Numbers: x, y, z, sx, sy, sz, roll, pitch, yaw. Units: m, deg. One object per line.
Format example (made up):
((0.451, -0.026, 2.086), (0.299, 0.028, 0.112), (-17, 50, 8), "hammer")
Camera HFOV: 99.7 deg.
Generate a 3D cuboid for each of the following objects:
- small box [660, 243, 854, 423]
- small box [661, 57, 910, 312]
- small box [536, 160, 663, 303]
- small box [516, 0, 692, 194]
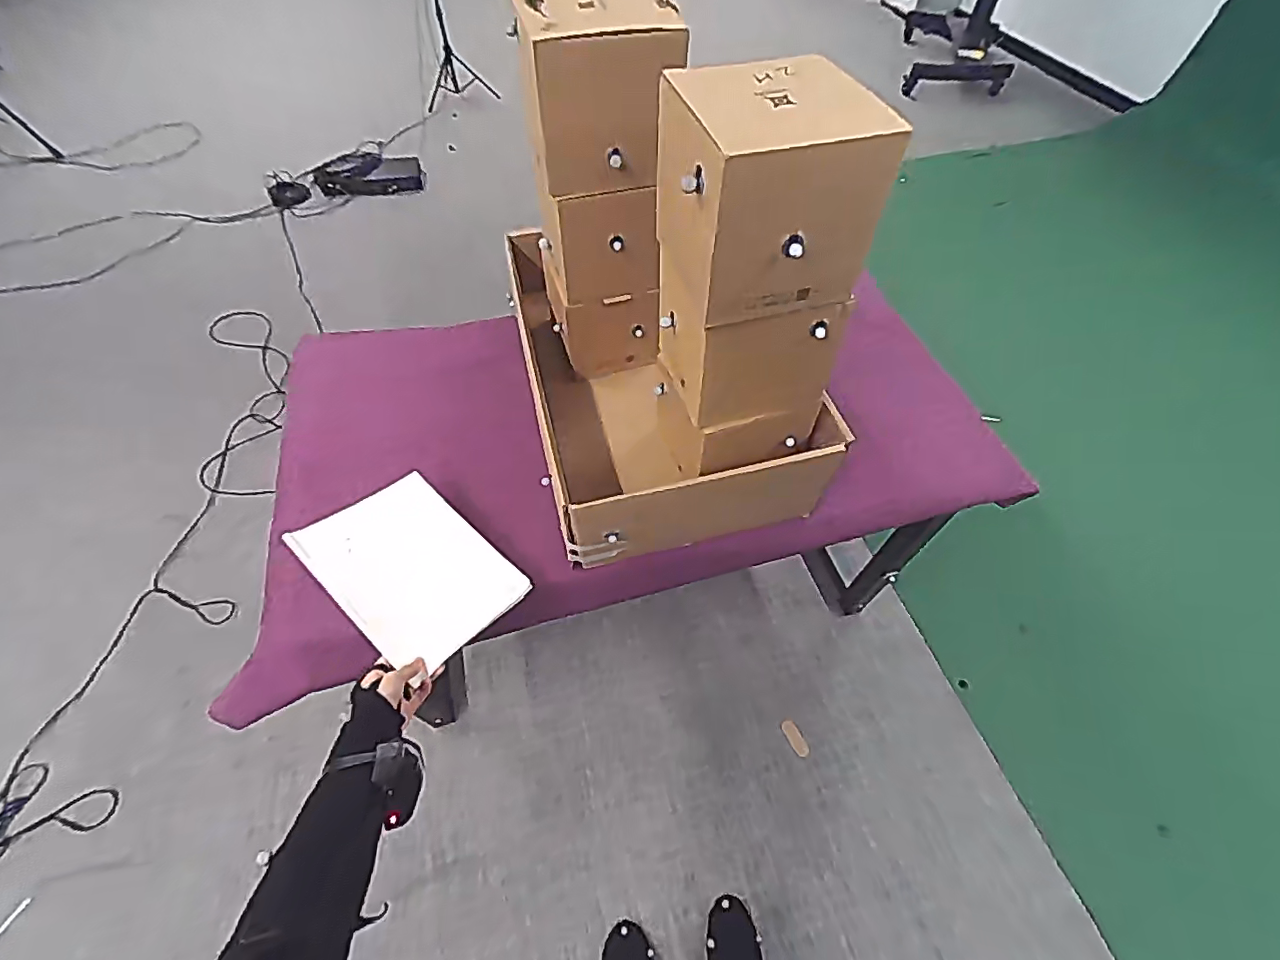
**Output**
((0.128, -0.192, 0.676), (0.179, 0.176, 0.168), (-12, 56, -9), "small box")
((0.123, -0.285, 0.540), (0.168, 0.176, 0.179), (-12, 55, -9), "small box")
((-0.052, -0.395, 0.815), (0.179, 0.176, 0.168), (-15, 58, -11), "small box")
((-0.051, -0.488, 0.679), (0.179, 0.176, 0.168), (-12, 58, -11), "small box")
